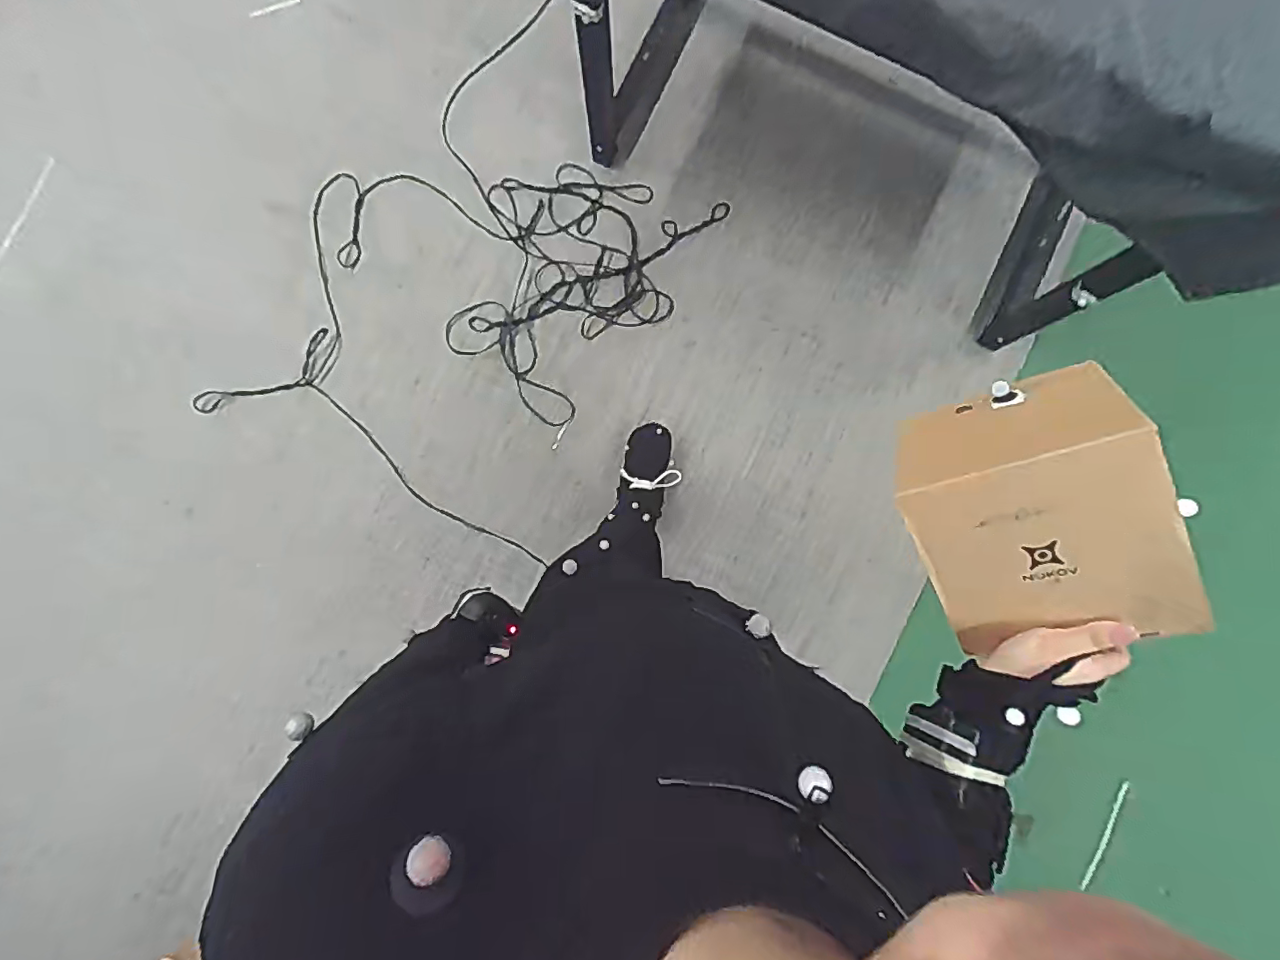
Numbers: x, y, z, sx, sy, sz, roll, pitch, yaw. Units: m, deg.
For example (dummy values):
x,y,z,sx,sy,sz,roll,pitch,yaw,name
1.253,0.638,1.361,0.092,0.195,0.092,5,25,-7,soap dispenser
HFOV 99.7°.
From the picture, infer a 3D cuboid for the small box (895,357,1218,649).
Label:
x,y,z,sx,sy,sz,roll,pitch,yaw,name
0.345,0.018,0.479,0.168,0.176,0.179,-23,104,33,small box
